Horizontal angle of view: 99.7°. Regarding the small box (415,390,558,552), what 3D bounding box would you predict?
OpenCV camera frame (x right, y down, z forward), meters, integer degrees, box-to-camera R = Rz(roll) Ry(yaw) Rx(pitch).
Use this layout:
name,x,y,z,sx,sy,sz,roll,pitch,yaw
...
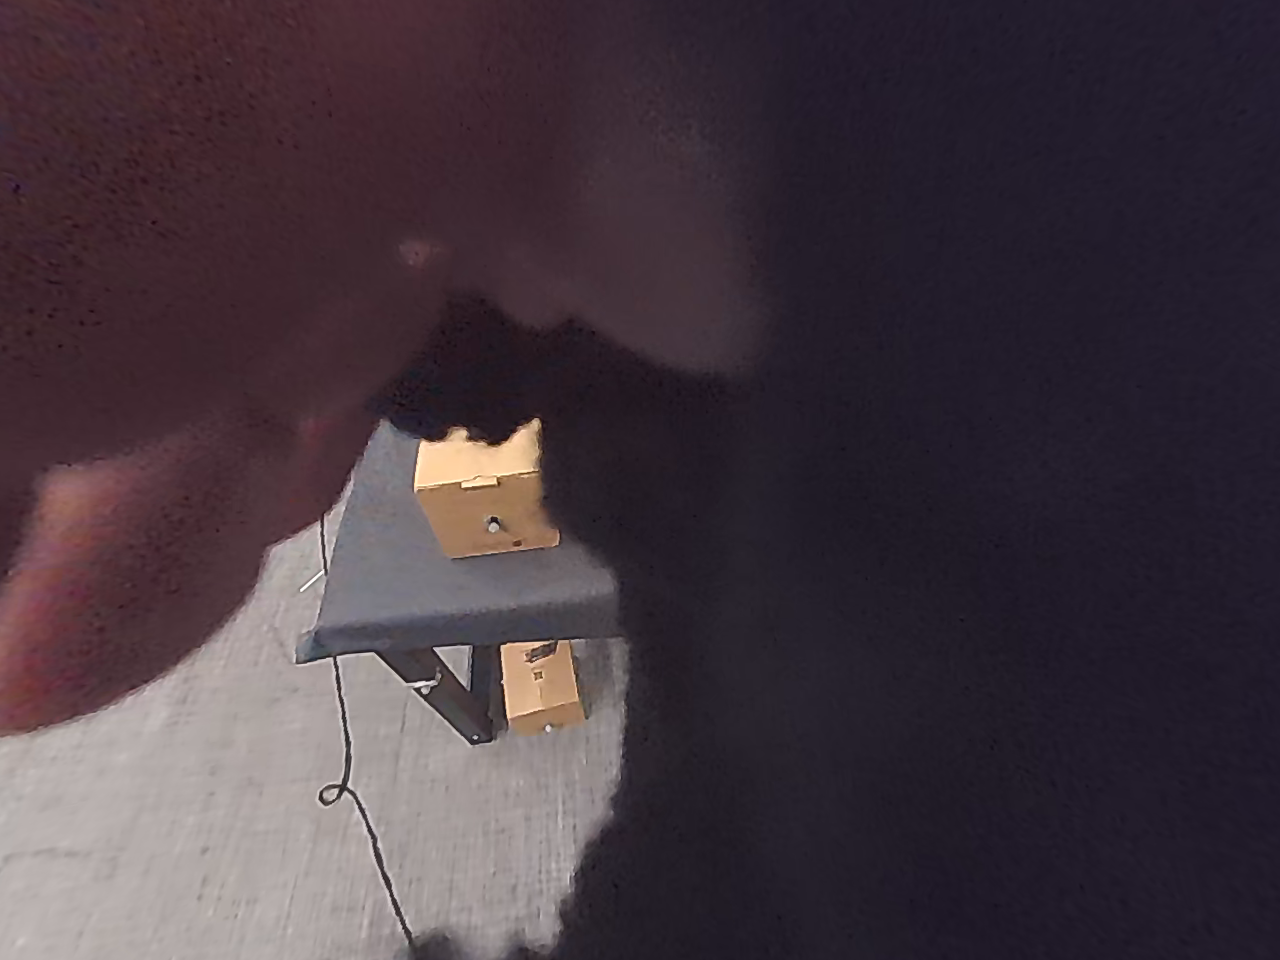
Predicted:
name,x,y,z,sx,sy,sz,roll,pitch,yaw
small box,-0.215,-0.007,0.800,0.168,0.176,0.179,-7,50,-6
